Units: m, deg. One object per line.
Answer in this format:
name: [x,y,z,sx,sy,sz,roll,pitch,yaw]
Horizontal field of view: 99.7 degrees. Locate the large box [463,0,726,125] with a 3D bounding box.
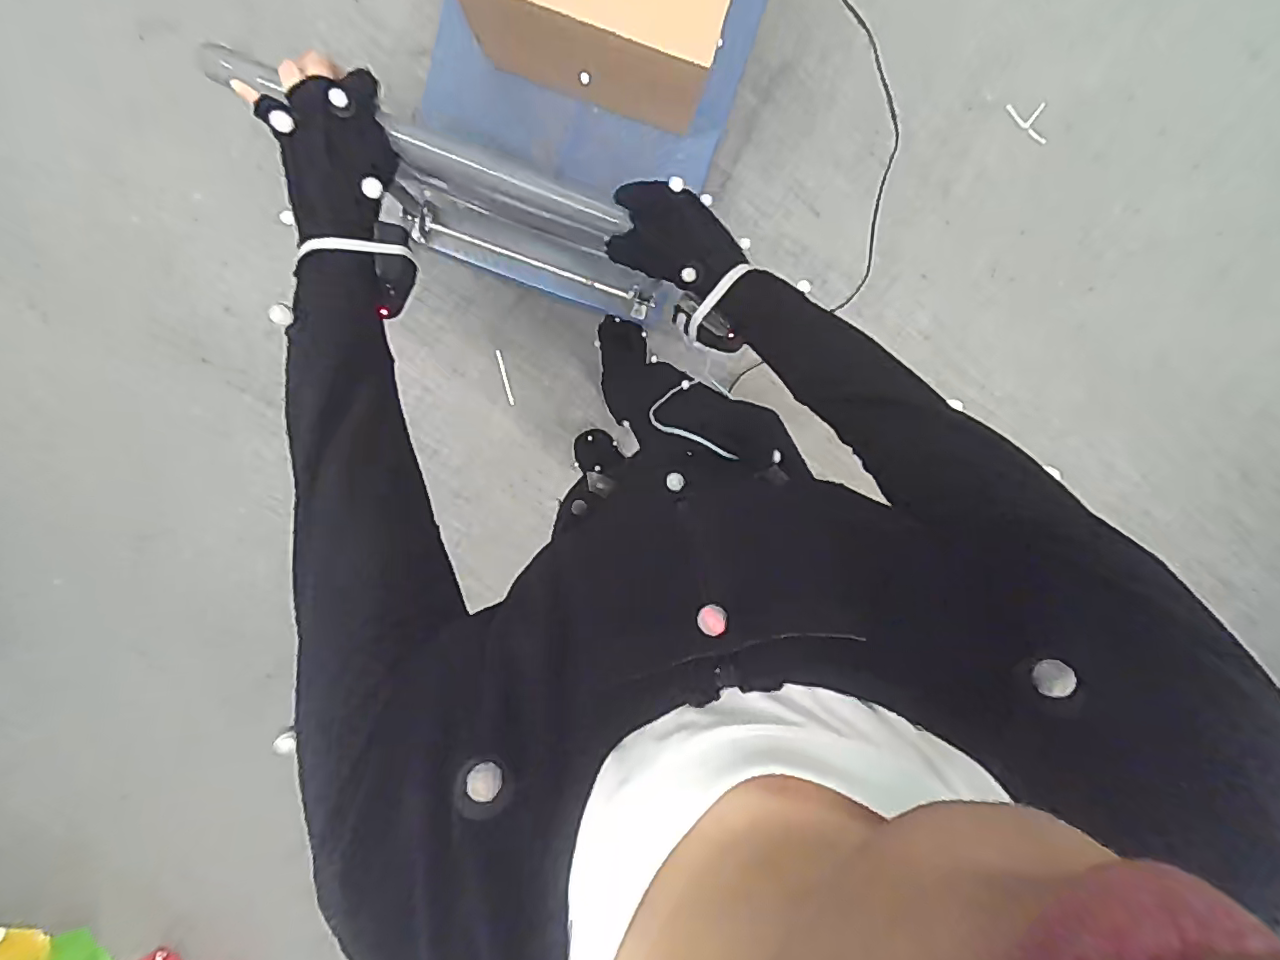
large box: [-0.050,-0.863,0.897,0.408,0.320,0.320,15,104,-6]
